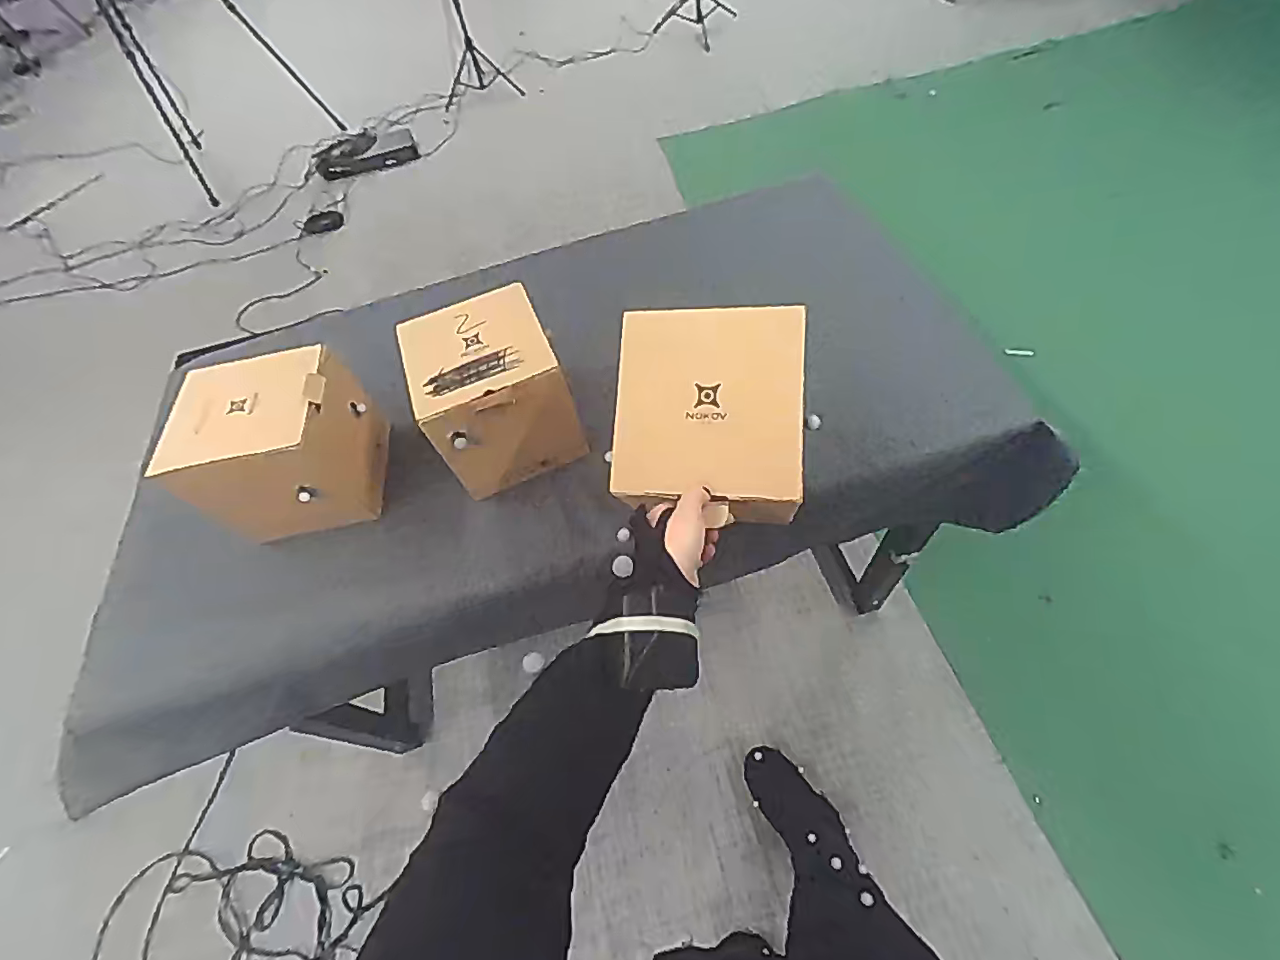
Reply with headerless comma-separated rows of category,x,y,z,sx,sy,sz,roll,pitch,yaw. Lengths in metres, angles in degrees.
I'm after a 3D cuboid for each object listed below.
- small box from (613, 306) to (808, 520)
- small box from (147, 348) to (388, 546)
small box,0.075,-0.058,0.556,0.168,0.176,0.179,2,81,11
small box,-0.447,-0.037,0.688,0.179,0.176,0.168,-12,55,1
